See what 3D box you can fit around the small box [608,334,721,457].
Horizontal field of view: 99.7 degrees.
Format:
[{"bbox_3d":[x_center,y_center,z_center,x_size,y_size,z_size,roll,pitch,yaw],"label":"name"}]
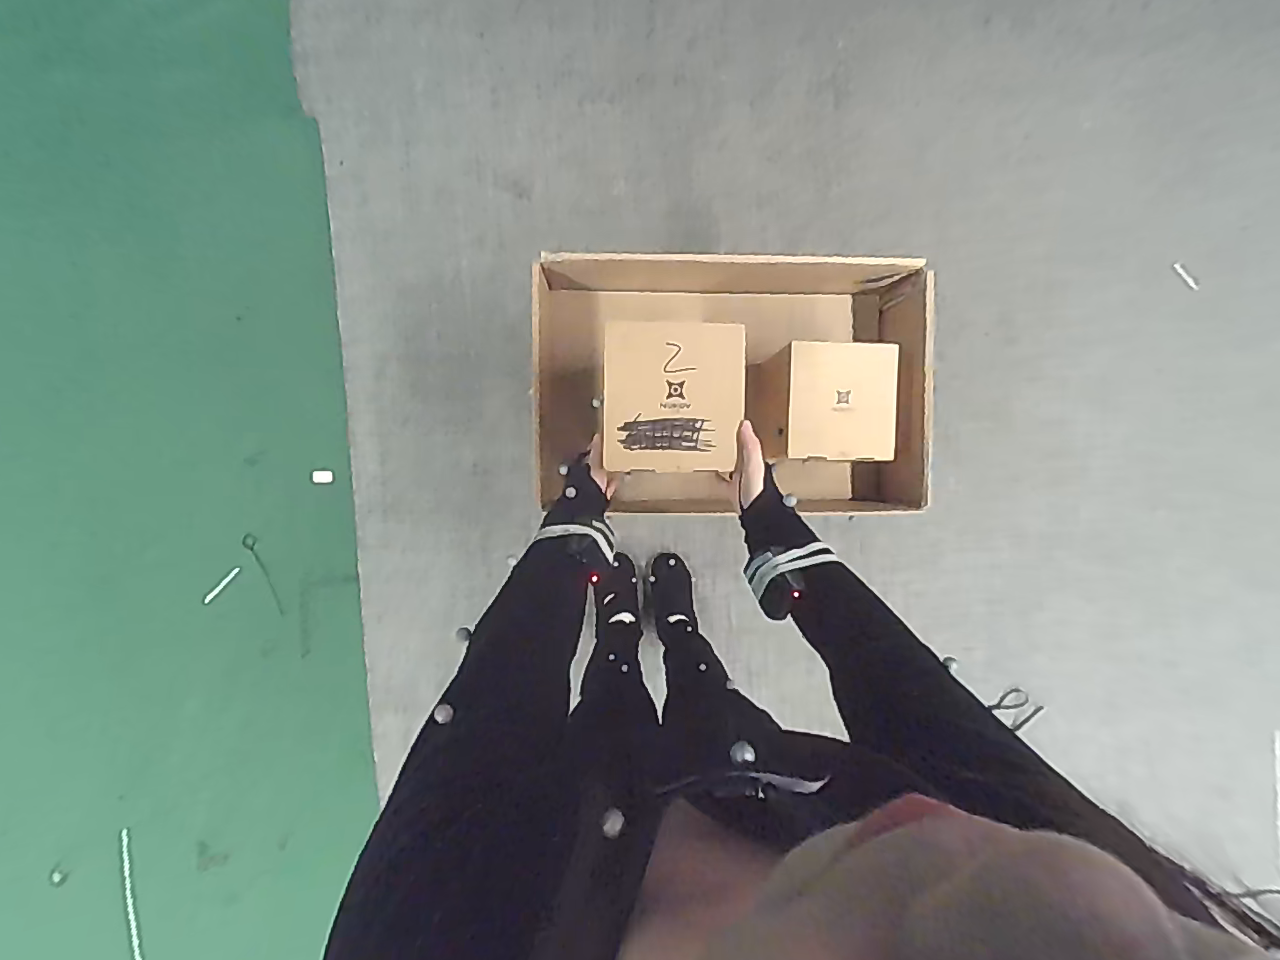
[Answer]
[{"bbox_3d":[0.032,-0.127,0.866,0.168,0.176,0.179,-1,93,-3],"label":"small box"}]
